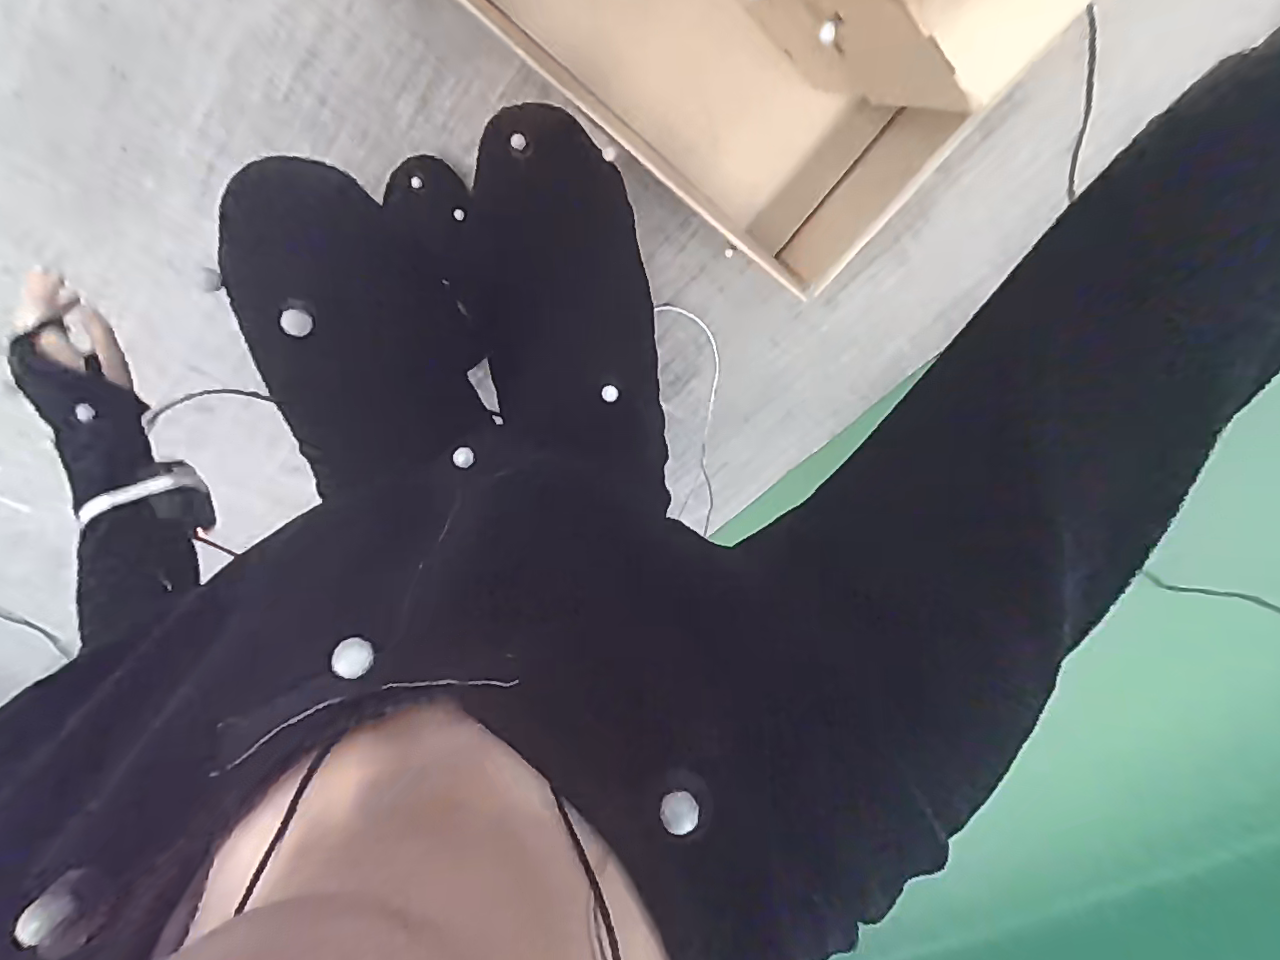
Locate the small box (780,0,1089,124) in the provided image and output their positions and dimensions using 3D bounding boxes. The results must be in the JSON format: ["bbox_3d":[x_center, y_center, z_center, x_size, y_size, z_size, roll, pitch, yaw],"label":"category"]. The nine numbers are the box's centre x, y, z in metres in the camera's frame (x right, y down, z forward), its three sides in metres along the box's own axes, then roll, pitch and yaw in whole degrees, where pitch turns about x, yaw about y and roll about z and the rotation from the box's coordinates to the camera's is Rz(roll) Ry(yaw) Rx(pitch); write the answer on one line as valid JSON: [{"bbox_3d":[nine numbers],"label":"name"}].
[{"bbox_3d":[0.203,-0.377,0.353,0.168,0.176,0.179,33,118,-25],"label":"small box"}]
